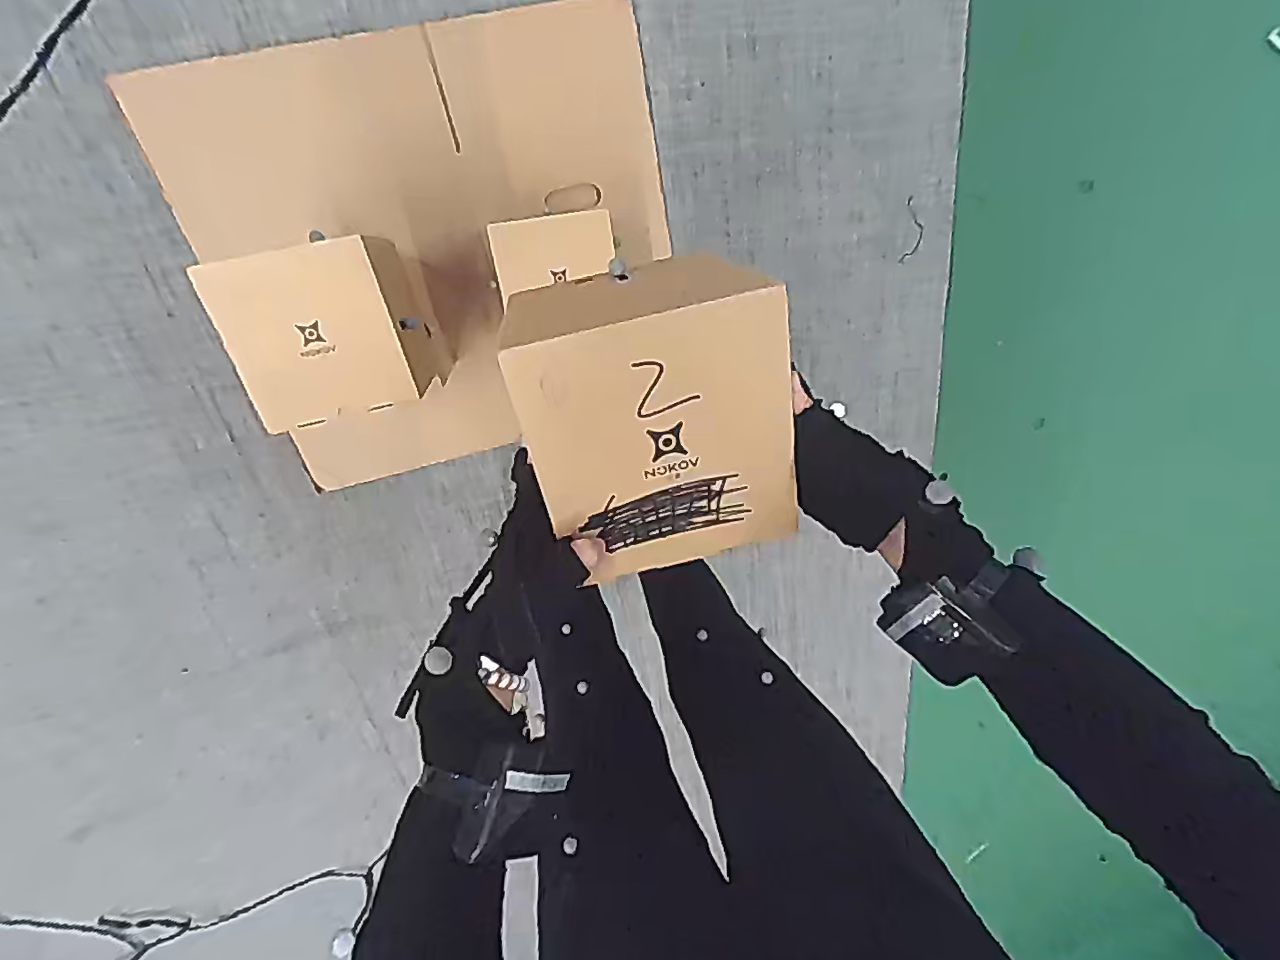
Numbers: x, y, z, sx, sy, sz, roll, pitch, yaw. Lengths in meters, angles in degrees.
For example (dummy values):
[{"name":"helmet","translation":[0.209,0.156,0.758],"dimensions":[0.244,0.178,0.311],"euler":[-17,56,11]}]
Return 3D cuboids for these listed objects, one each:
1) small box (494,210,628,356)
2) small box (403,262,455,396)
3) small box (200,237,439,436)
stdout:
[{"name":"small box","translation":[-0.122,-0.300,0.822],"dimensions":[0.168,0.176,0.179],"euler":[-11,115,-8]},{"name":"small box","translation":[-0.385,-0.210,0.793],"dimensions":[0.168,0.176,0.179],"euler":[-18,115,-6]},{"name":"small box","translation":[-0.350,-0.174,0.636],"dimensions":[0.168,0.176,0.179],"euler":[-15,115,-7]}]
